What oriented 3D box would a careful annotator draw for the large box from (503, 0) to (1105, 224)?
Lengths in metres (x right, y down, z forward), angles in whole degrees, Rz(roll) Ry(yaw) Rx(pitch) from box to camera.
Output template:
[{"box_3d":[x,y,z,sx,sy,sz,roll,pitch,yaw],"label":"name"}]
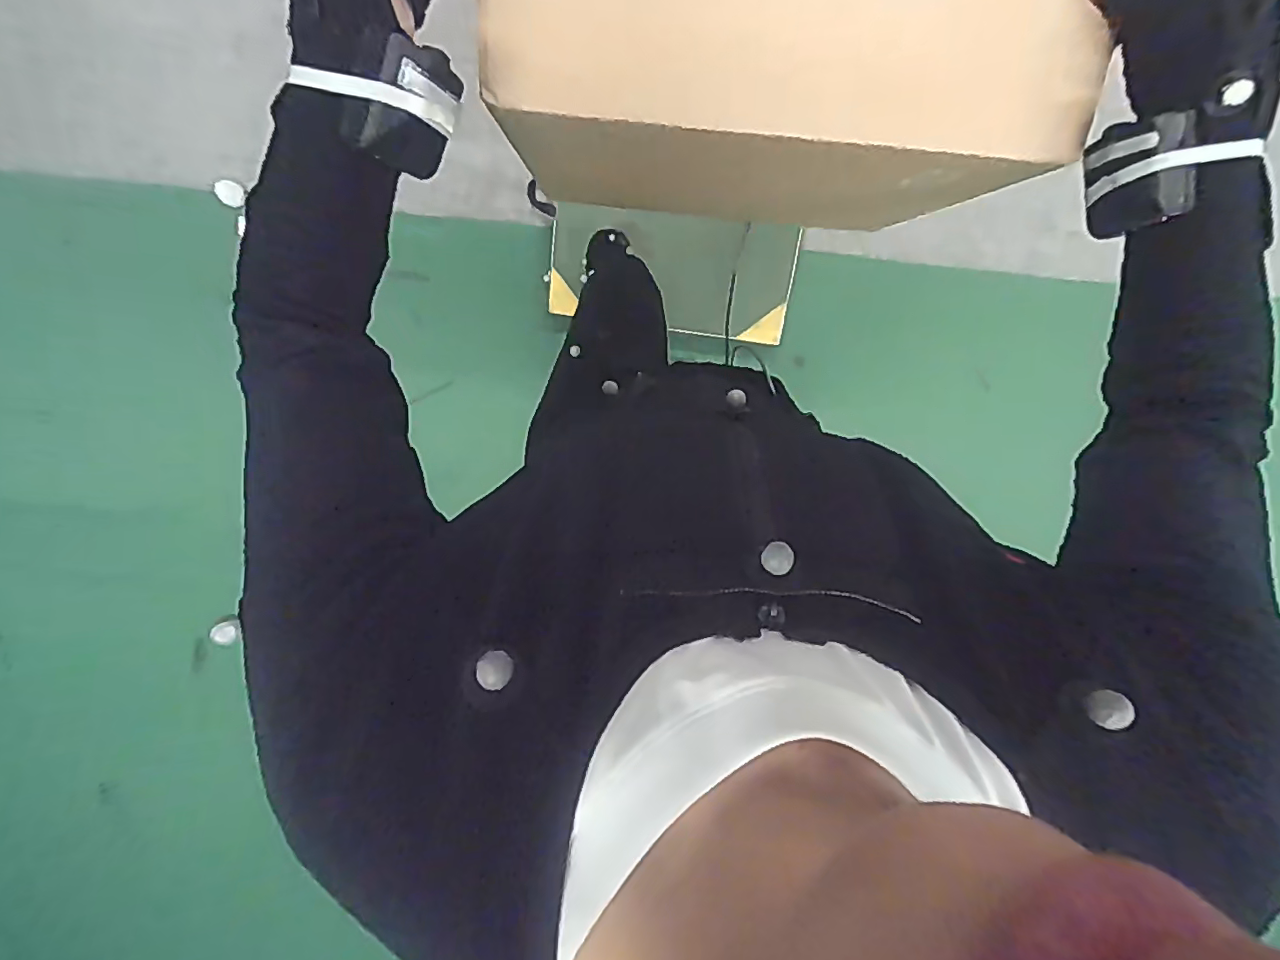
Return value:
[{"box_3d":[0.106,-0.427,0.473,0.408,0.320,0.320,3,107,-4],"label":"large box"}]
